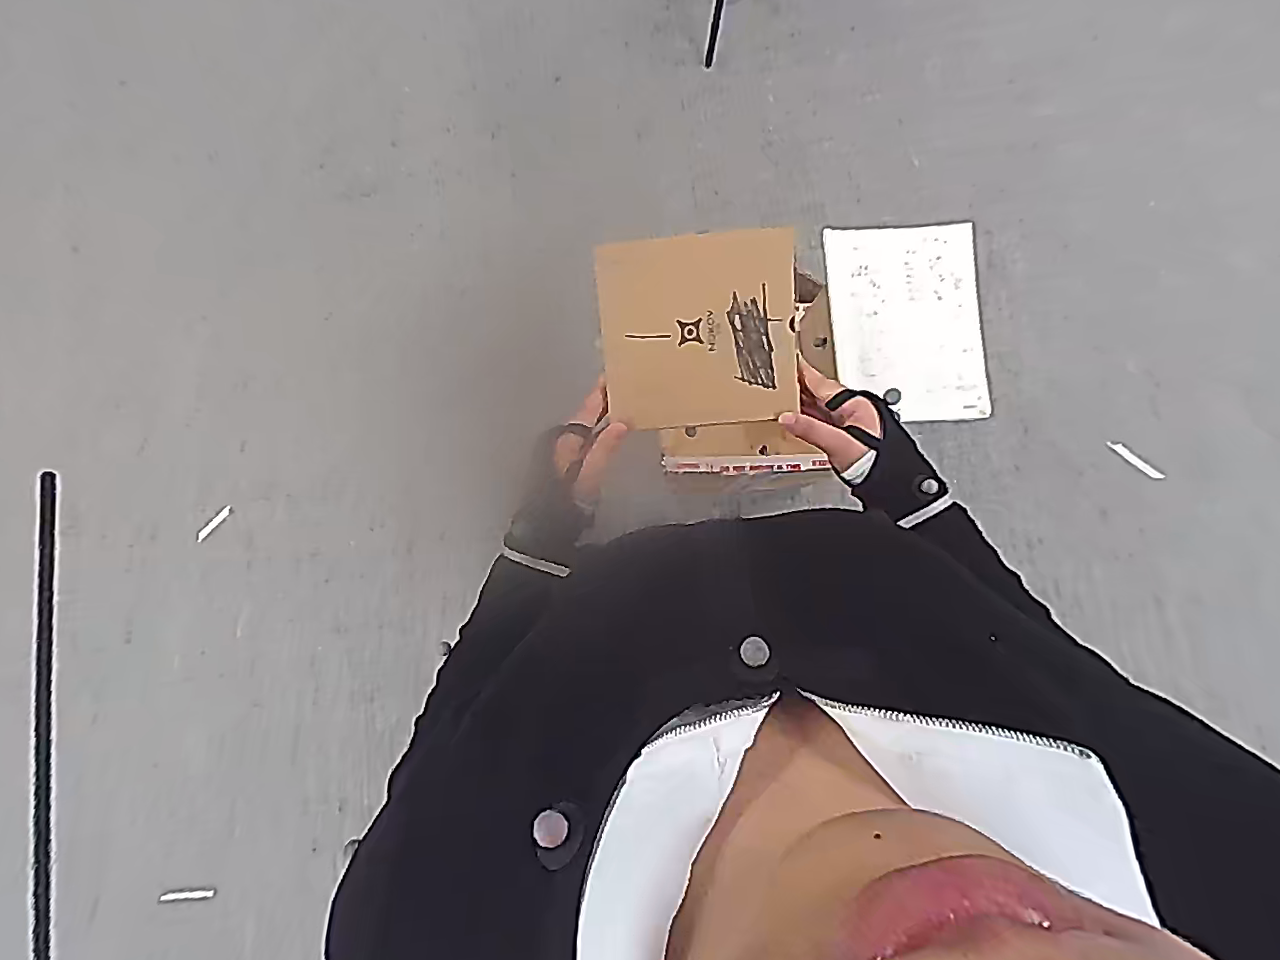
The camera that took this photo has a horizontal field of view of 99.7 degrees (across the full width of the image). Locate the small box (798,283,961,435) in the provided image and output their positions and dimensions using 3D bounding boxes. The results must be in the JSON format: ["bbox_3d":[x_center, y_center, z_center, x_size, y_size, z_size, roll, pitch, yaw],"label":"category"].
[{"bbox_3d":[0.350,-0.175,0.825,0.168,0.176,0.179,-6,84,0],"label":"small box"}]

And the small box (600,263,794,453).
[{"bbox_3d":[0.055,-0.125,0.579,0.179,0.176,0.168,-4,99,2],"label":"small box"}]

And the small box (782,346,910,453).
[{"bbox_3d":[0.356,-0.150,0.987,0.179,0.176,0.168,-9,84,1],"label":"small box"}]
